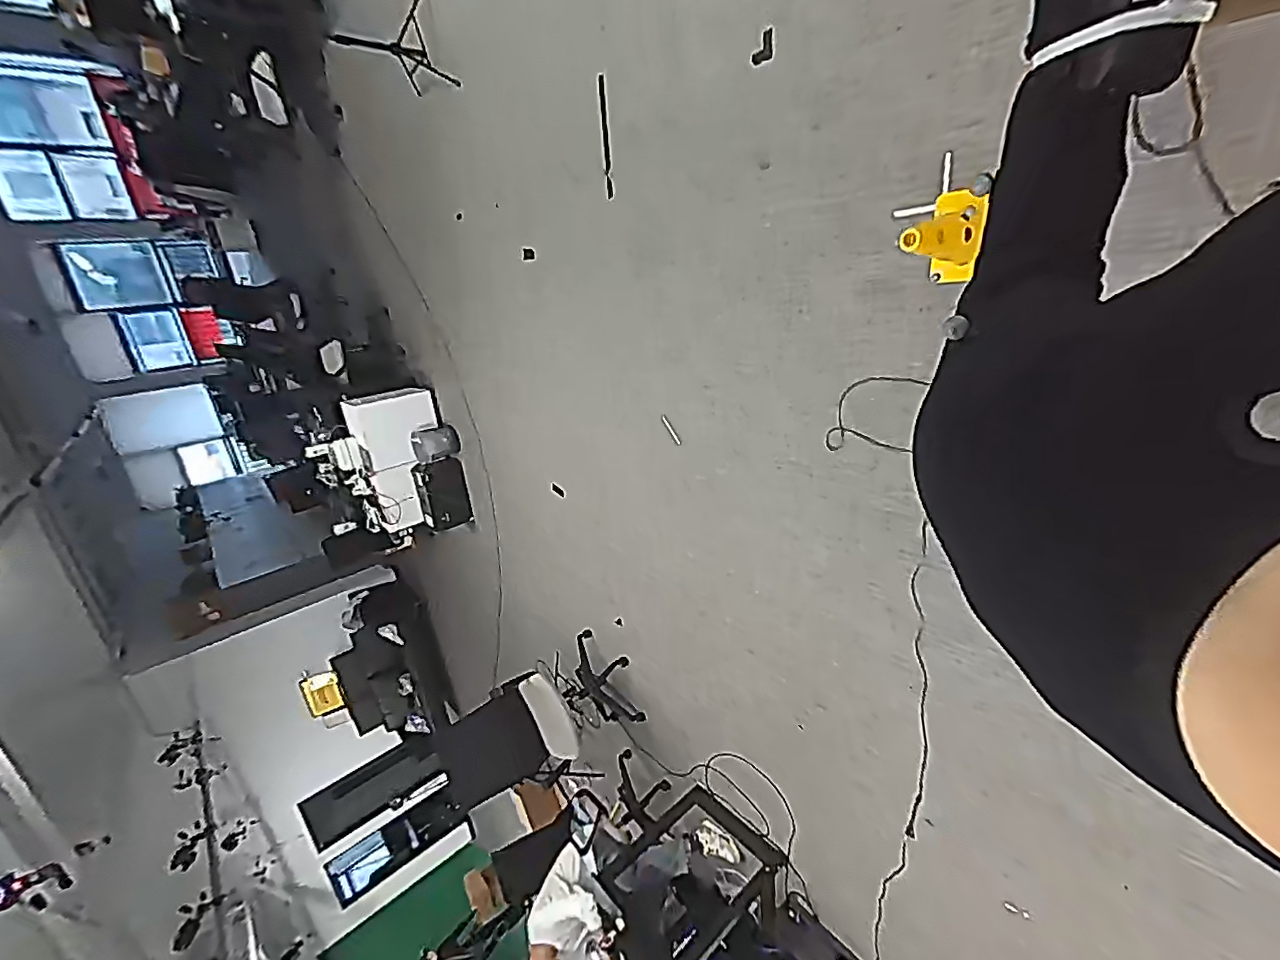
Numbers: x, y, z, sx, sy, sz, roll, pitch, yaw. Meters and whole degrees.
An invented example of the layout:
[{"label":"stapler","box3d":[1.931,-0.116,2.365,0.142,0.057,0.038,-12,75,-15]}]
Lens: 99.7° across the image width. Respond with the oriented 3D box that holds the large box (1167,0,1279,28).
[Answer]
[{"label":"large box","box3d":[0.539,-0.464,0.230,0.408,0.320,0.320,17,128,44]}]
